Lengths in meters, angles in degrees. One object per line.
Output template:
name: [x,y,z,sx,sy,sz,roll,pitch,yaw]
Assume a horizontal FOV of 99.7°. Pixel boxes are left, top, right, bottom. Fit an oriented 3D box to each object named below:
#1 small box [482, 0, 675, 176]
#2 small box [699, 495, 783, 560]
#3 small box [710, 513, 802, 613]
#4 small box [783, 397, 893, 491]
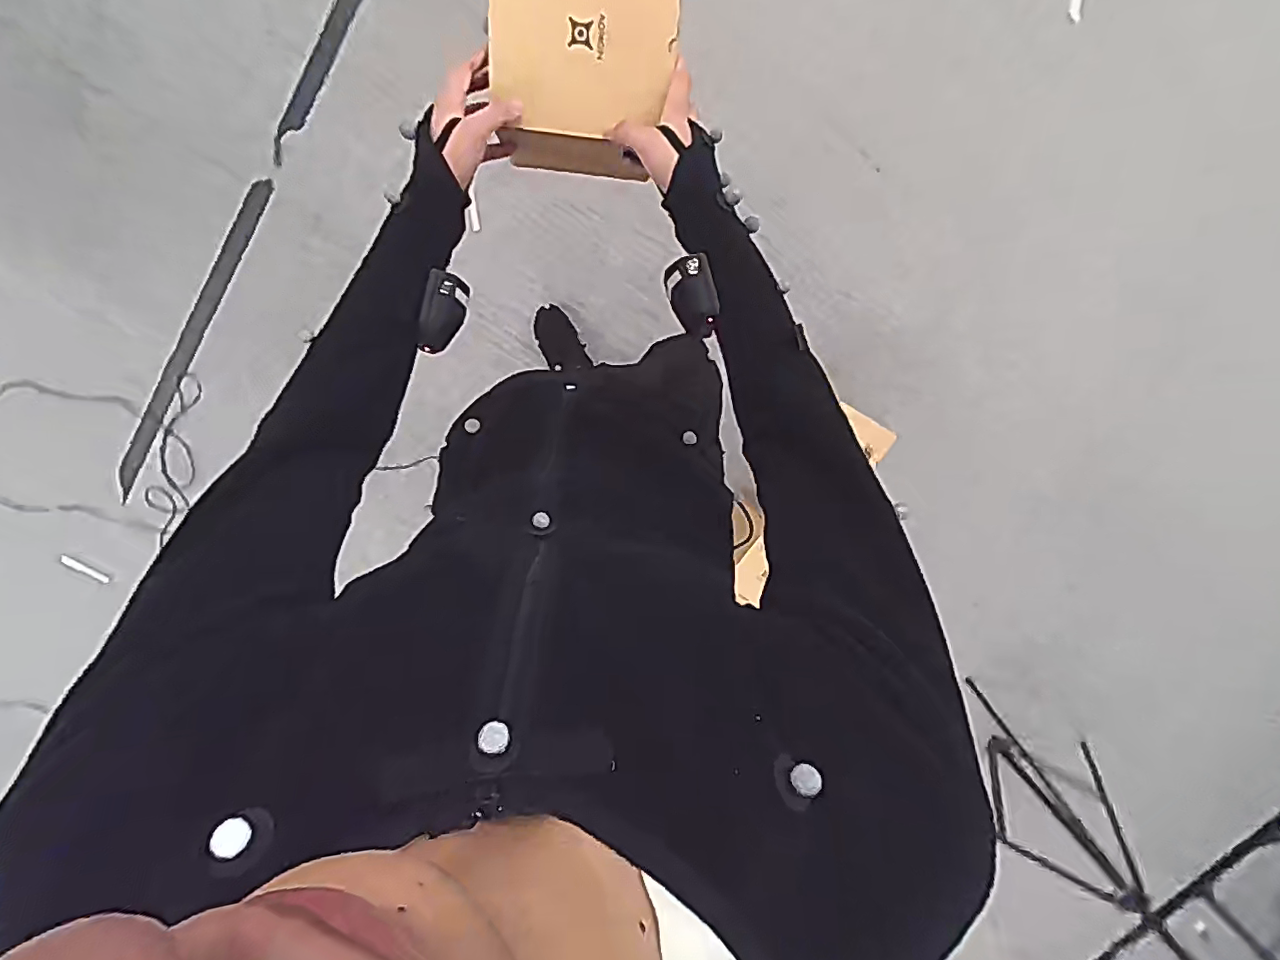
small box: [-0.066,-0.433,0.568,0.179,0.176,0.168,1,109,-9]
small box: [0.298,0.174,1.648,0.168,0.176,0.179,34,104,-13]
small box: [0.308,0.224,1.492,0.168,0.176,0.179,35,104,-14]
small box: [0.503,-0.100,1.401,0.179,0.176,0.168,29,103,-11]
